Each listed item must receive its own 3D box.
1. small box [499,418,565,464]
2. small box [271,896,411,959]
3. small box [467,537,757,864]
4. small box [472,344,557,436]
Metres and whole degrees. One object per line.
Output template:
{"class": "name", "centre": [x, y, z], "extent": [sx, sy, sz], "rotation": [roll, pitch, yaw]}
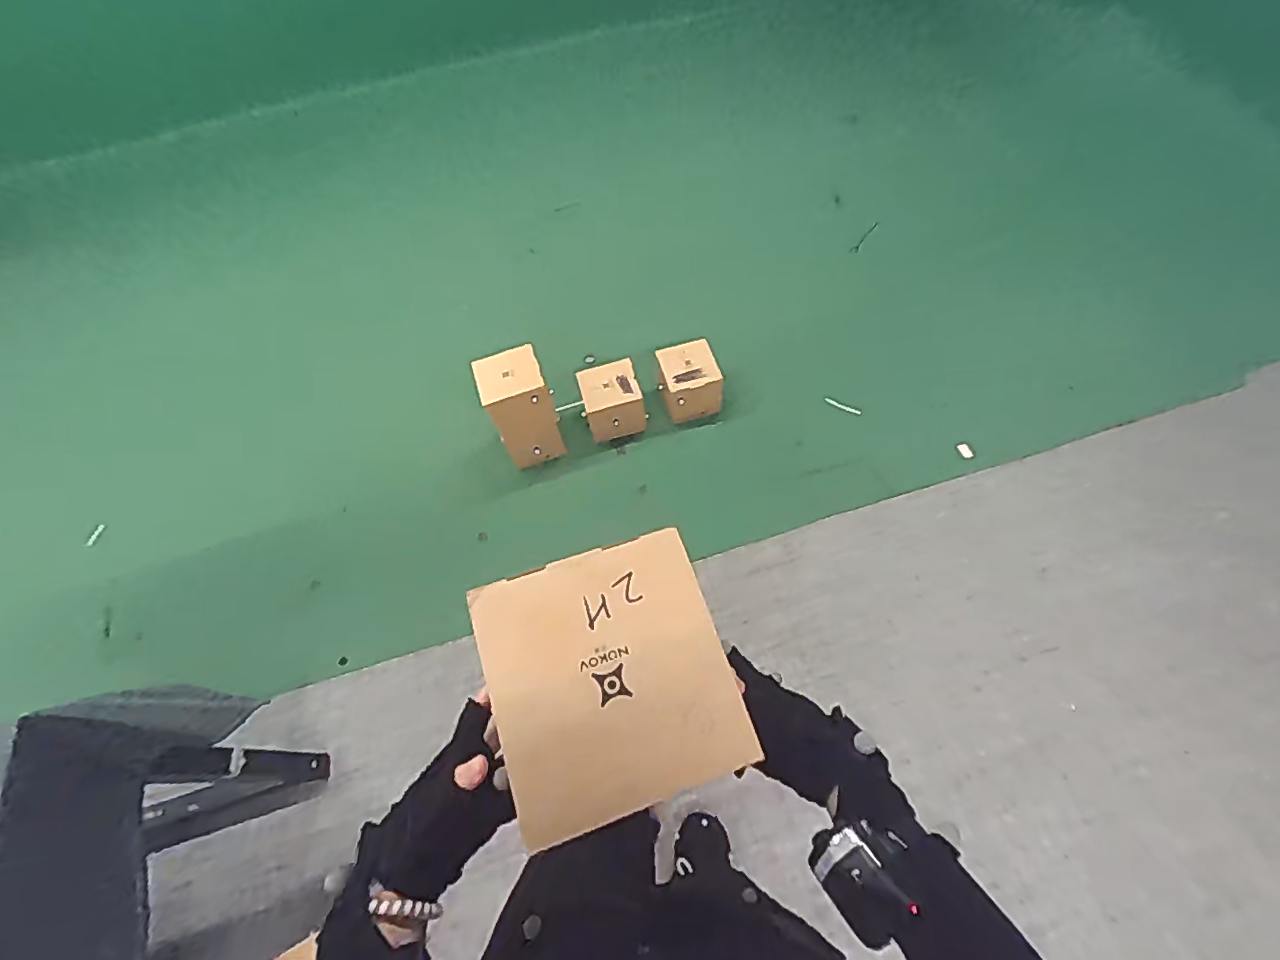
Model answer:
{"class": "small box", "centre": [-0.341, -0.169, 1.671], "extent": [0.168, 0.176, 0.179], "rotation": [-18, 62, -5]}
{"class": "small box", "centre": [-0.586, 0.972, 1.070], "extent": [0.179, 0.176, 0.168], "rotation": [-28, 63, -9]}
{"class": "small box", "centre": [-0.027, 0.169, 0.448], "extent": [0.168, 0.176, 0.179], "rotation": [-16, 70, -11]}
{"class": "small box", "centre": [-0.351, -0.248, 1.528], "extent": [0.179, 0.176, 0.168], "rotation": [-19, 61, -6]}
